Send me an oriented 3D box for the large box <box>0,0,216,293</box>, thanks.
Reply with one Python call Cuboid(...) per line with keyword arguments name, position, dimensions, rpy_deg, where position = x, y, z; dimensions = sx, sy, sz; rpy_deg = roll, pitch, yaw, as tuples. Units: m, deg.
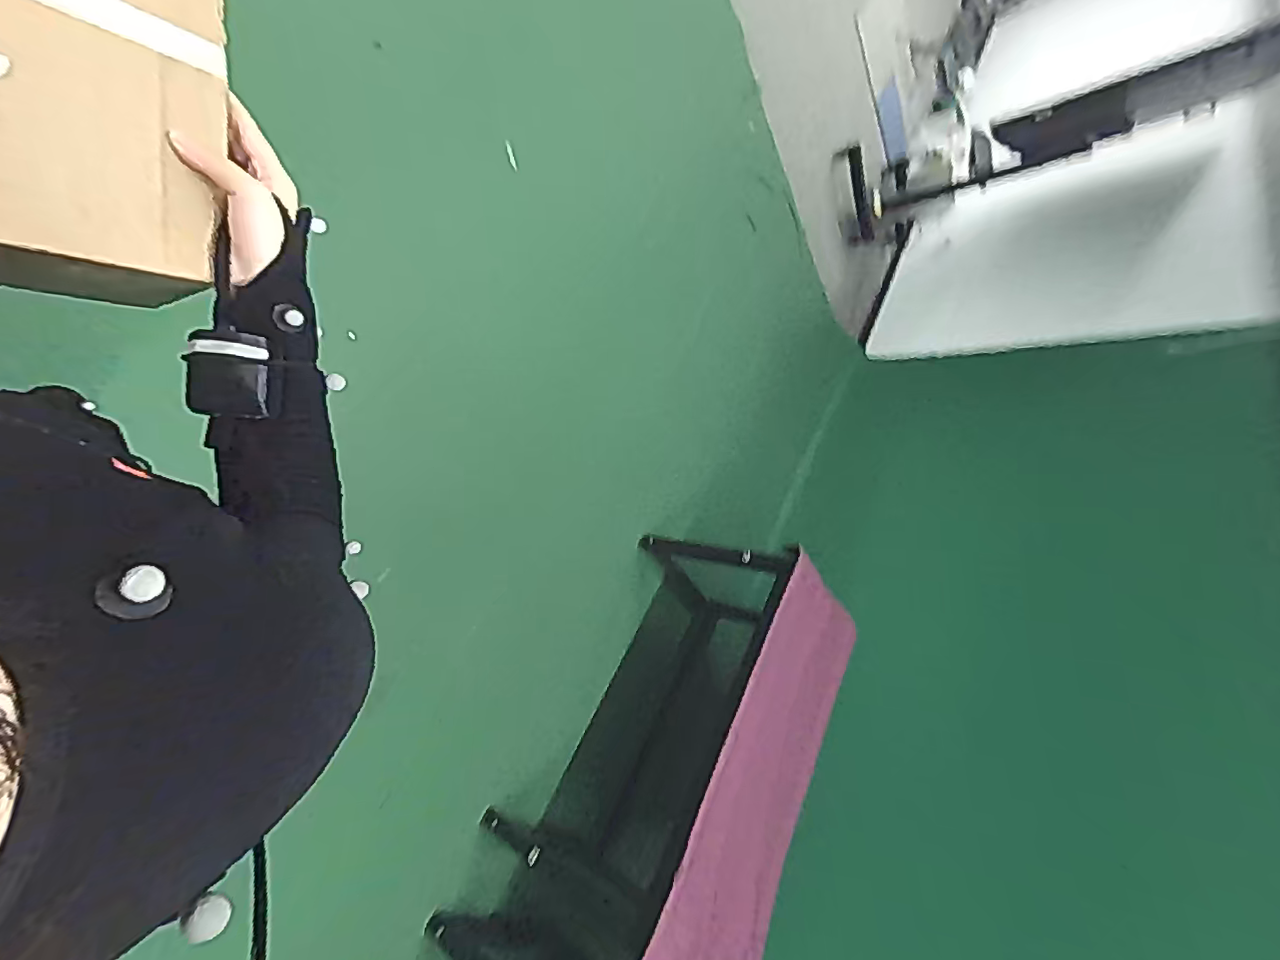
Cuboid(name="large box", position=(-0.562, -0.322, 0.340), dimensions=(0.408, 0.320, 0.320), rpy_deg=(-5, 103, -50))
